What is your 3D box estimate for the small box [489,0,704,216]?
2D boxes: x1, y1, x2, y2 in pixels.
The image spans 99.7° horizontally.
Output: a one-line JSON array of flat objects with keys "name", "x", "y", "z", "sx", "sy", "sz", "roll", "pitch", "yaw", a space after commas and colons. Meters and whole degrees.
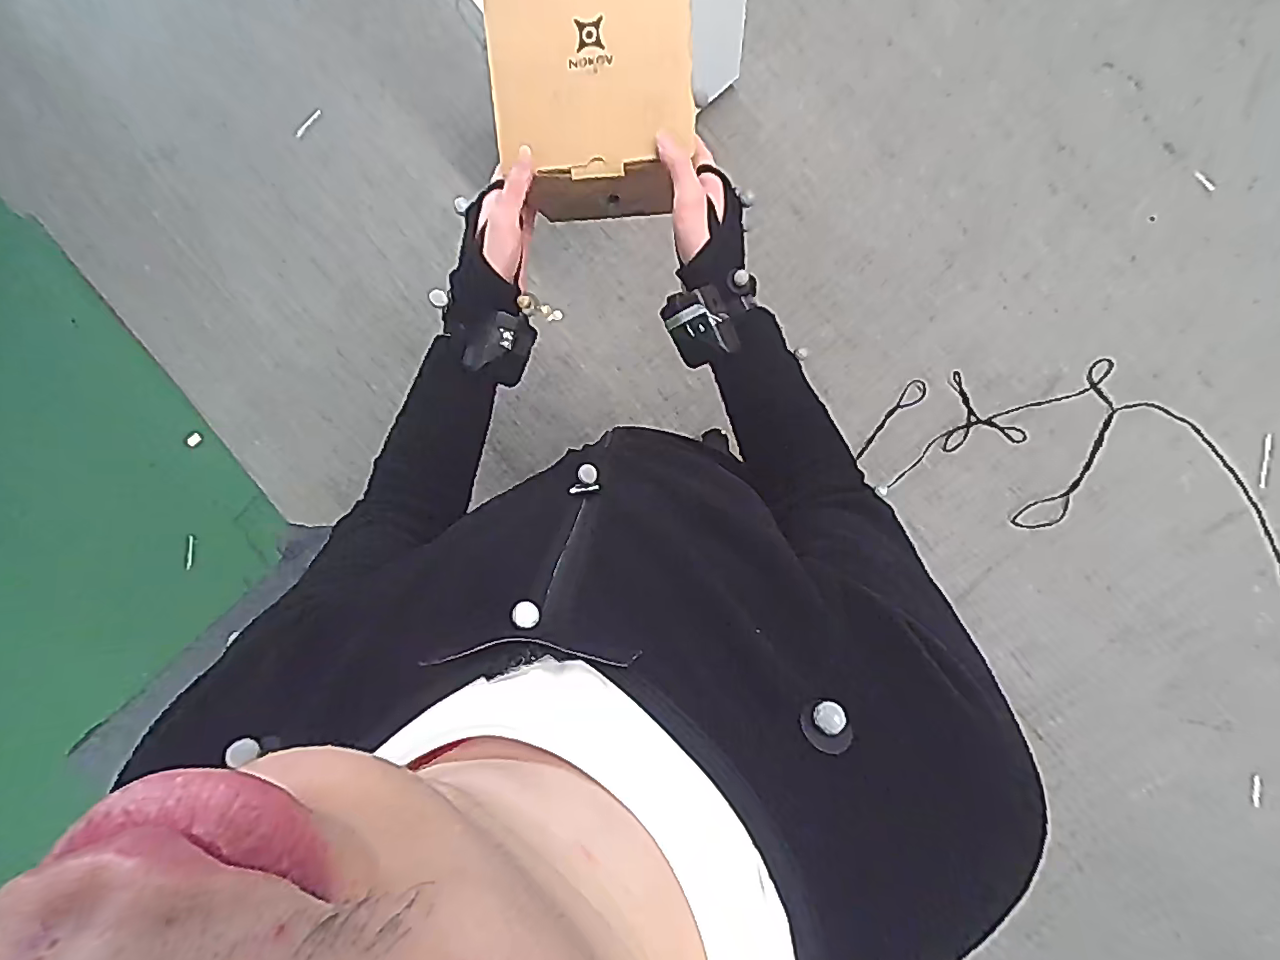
[{"name": "small box", "x": -0.027, "y": -0.364, "z": 0.511, "sx": 0.168, "sy": 0.176, "sz": 0.179, "roll": -4, "pitch": 103, "yaw": 8}]
